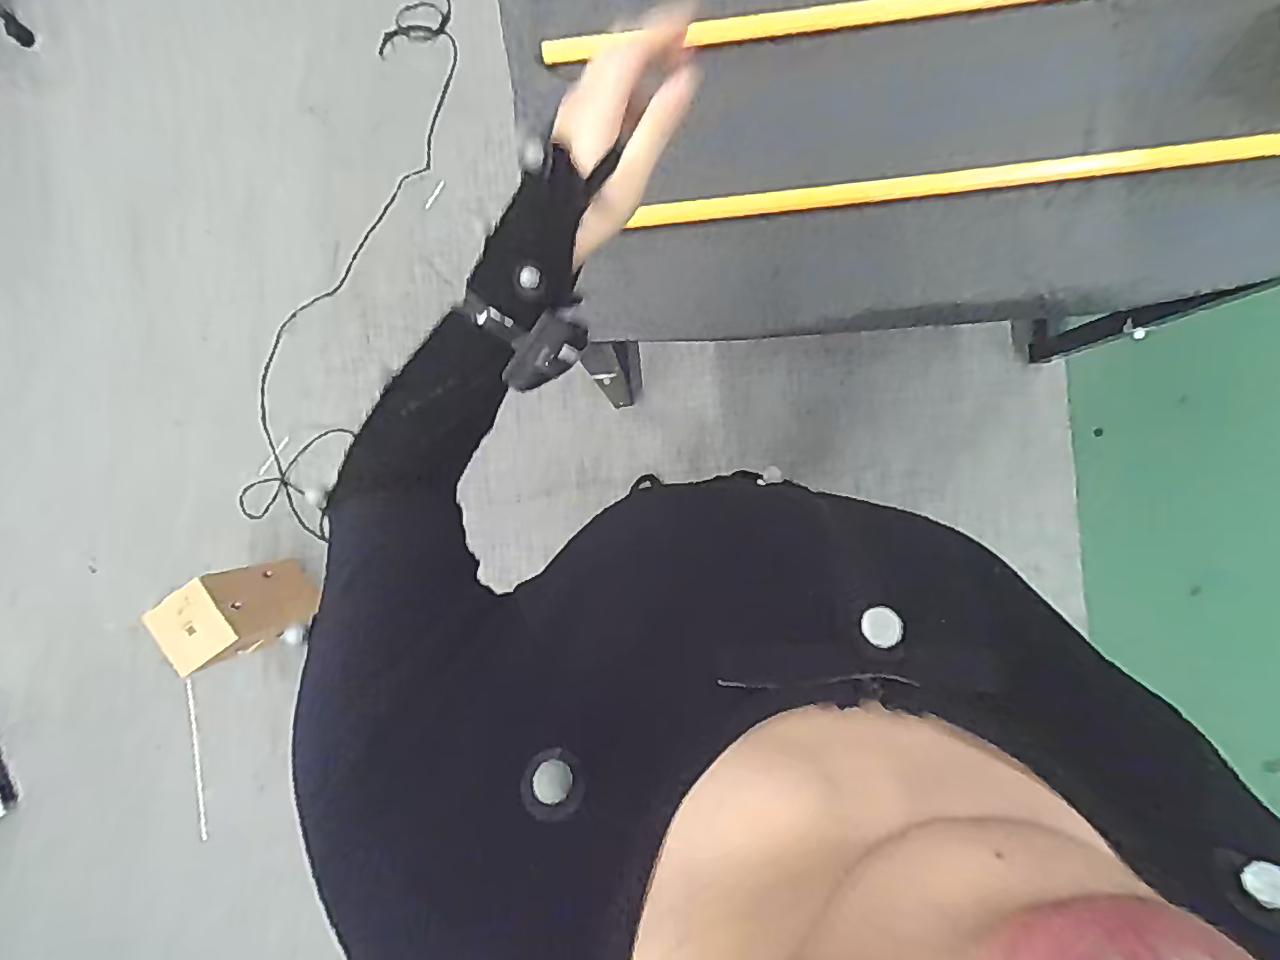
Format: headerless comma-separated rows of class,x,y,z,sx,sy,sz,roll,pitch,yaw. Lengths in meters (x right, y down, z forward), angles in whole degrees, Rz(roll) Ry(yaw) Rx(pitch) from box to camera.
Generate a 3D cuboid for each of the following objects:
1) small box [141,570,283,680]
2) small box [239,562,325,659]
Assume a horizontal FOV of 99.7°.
small box,-1.016,0.339,1.302,0.168,0.176,0.179,-35,88,2
small box,-1.009,0.343,1.467,0.168,0.176,0.179,-41,88,2
